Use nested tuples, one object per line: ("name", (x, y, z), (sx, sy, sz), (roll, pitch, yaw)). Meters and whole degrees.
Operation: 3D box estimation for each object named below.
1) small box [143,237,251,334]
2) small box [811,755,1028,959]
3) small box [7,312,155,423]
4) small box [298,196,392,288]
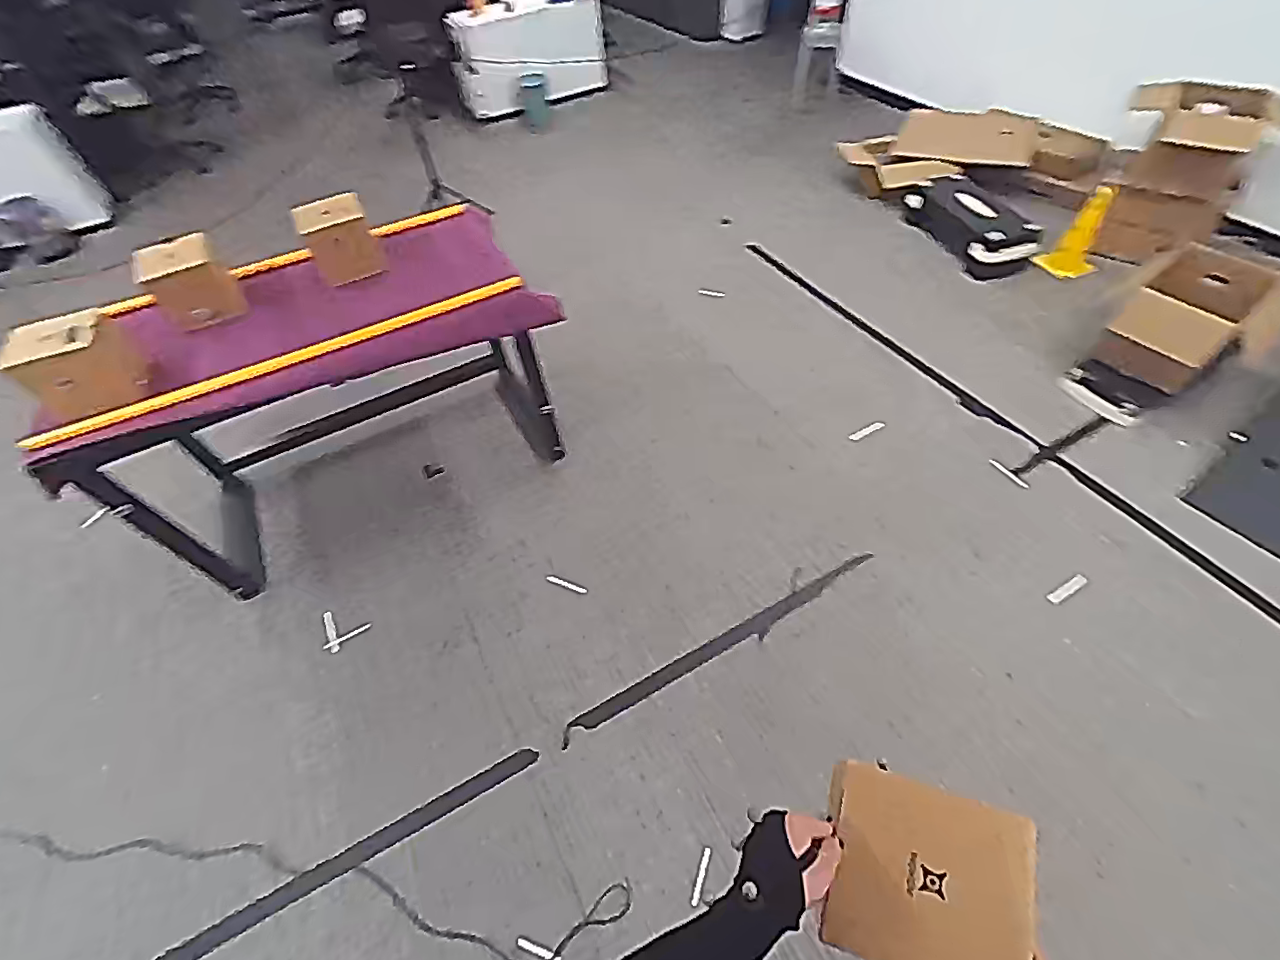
("small box", (-1.219, -0.535, 1.493), (0.168, 0.176, 0.179), (-28, 56, -15))
("small box", (0.290, 0.413, 0.588), (0.179, 0.176, 0.168), (9, 65, 21))
("small box", (-1.318, -0.266, 1.294), (0.179, 0.176, 0.168), (-21, 54, -12))
("small box", (-0.860, -0.692, 1.583), (0.179, 0.176, 0.168), (-25, 56, -14))
